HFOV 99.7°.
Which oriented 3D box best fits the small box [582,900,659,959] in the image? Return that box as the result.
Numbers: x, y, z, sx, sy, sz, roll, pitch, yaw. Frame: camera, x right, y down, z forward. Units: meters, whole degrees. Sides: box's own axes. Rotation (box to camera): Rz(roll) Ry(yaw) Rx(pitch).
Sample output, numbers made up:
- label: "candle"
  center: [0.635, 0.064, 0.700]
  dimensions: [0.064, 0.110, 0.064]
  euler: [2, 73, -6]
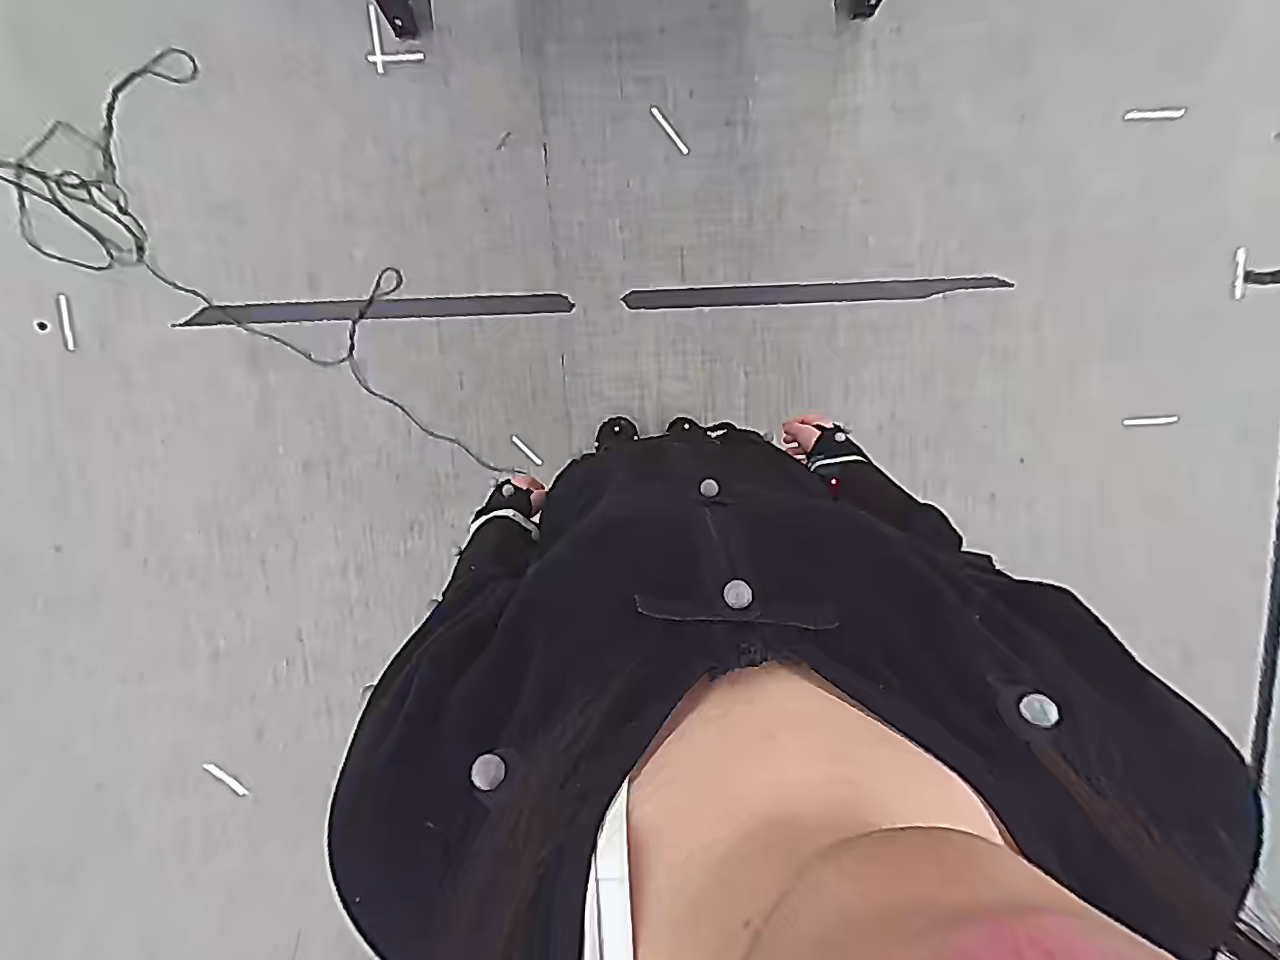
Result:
- label: "small box"
  center: [-0.043, 1.128, 1.265]
  dimensions: [0.179, 0.176, 0.168]
  euler: [-4, 96, 0]
